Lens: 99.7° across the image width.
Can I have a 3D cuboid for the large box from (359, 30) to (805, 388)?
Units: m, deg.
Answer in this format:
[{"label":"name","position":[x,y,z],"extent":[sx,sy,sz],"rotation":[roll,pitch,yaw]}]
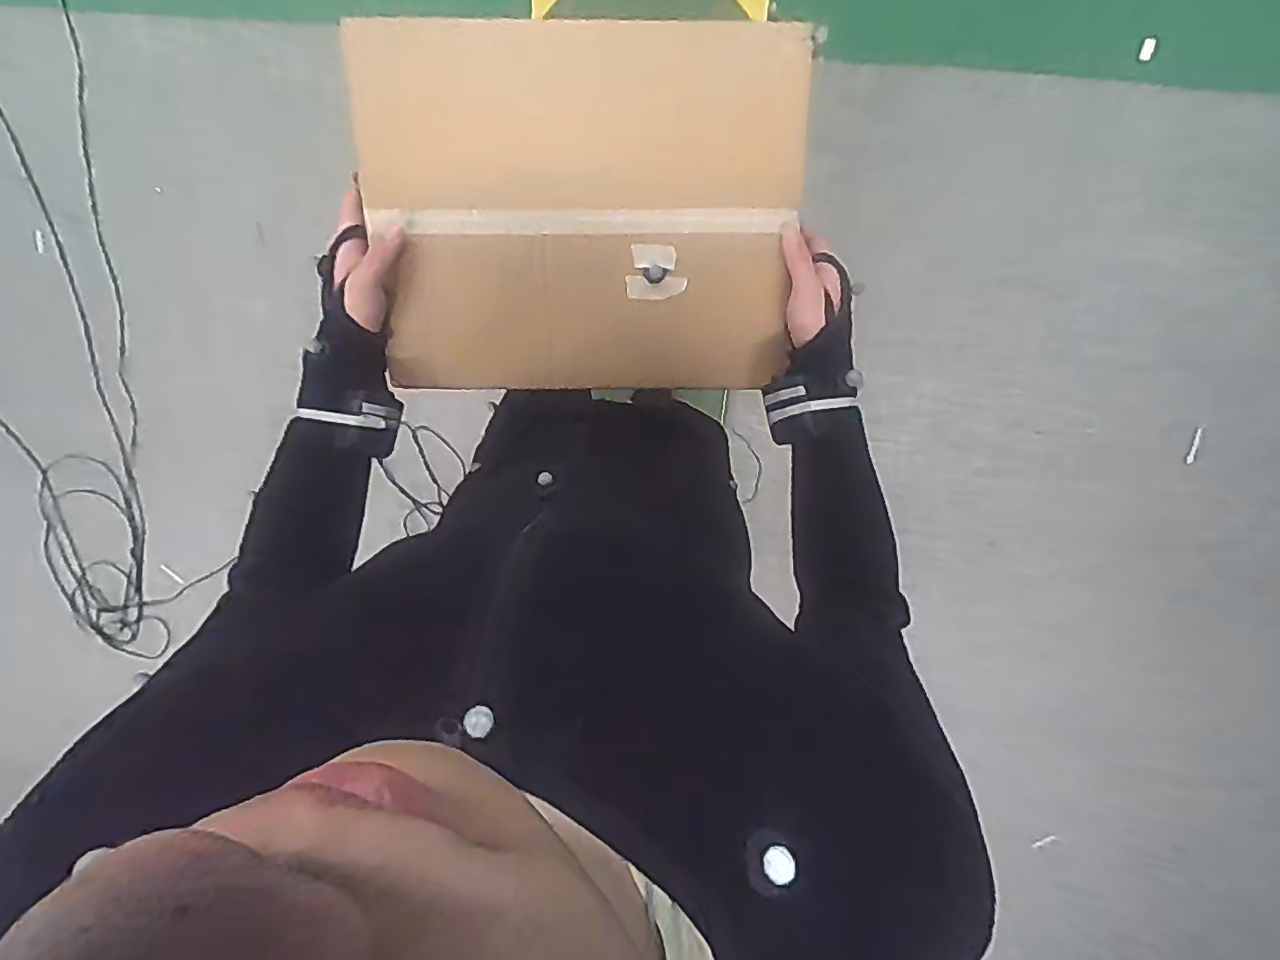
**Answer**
[{"label":"large box","position":[-0.054,-0.289,0.662],"extent":[0.408,0.320,0.320],"rotation":[-1,107,-2]}]
